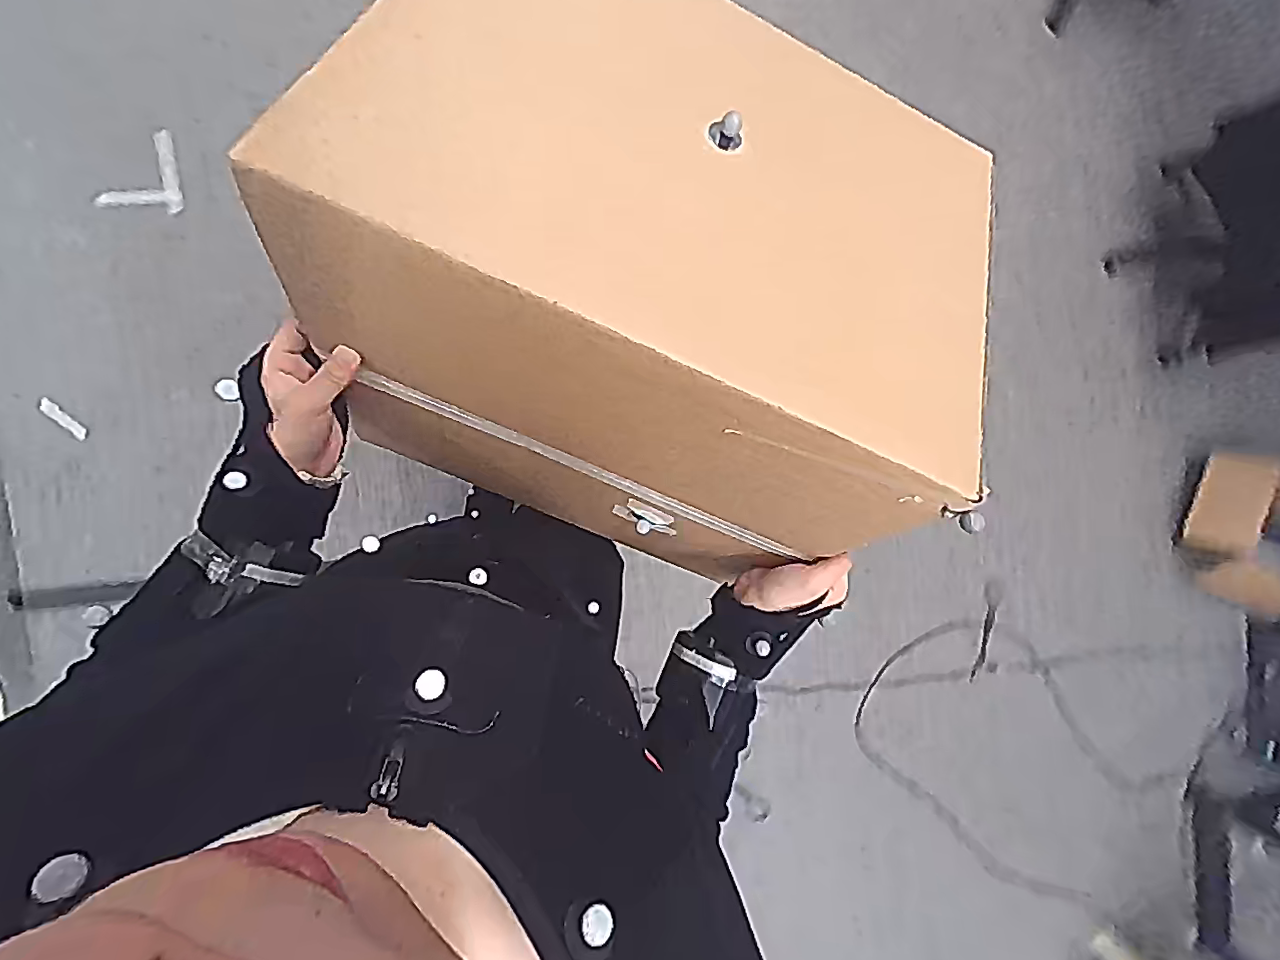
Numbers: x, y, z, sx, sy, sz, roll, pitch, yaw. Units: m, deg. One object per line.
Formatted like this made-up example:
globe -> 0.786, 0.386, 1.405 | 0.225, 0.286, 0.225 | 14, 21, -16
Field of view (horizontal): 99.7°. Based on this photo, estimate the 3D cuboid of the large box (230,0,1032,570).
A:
large box -> 0.013, -0.160, 0.441 | 0.408, 0.320, 0.320 | 21, 67, -8
